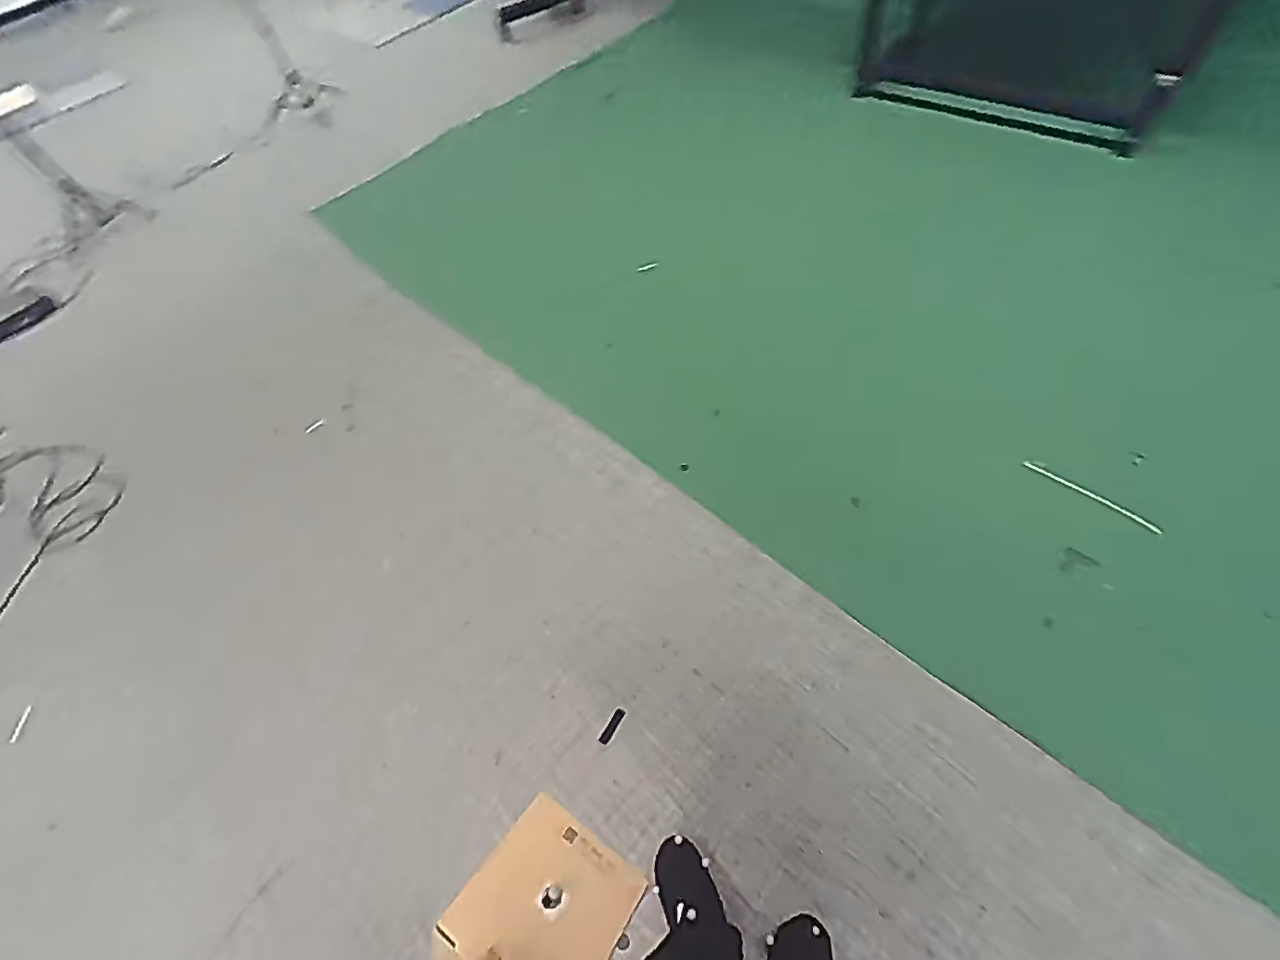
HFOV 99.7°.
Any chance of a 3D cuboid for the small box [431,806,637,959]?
[{"bbox_3d":[-0.122,0.532,0.636,0.168,0.179,0.176,29,36,16],"label":"small box"}]
